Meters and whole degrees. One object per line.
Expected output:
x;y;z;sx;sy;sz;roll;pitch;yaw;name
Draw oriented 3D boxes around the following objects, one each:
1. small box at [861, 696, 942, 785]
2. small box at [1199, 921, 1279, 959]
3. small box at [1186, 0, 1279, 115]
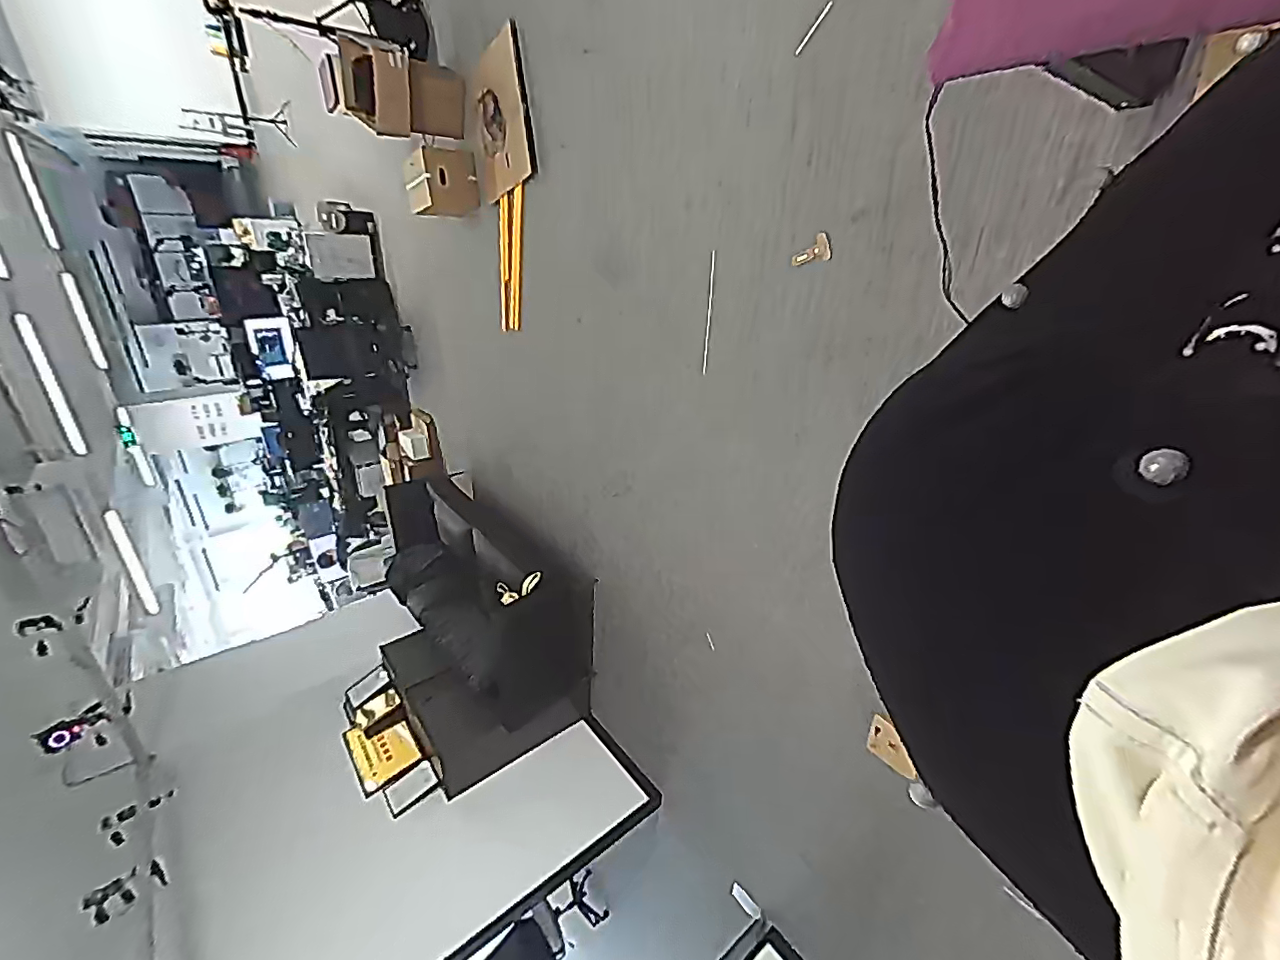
0.885;0.869;1.824;0.179;0.176;0.168;29;126;43;small box
1.425;1.183;1.245;0.168;0.176;0.179;28;127;43;small box
1.068;-0.736;0.907;0.168;0.176;0.179;19;119;48;small box
